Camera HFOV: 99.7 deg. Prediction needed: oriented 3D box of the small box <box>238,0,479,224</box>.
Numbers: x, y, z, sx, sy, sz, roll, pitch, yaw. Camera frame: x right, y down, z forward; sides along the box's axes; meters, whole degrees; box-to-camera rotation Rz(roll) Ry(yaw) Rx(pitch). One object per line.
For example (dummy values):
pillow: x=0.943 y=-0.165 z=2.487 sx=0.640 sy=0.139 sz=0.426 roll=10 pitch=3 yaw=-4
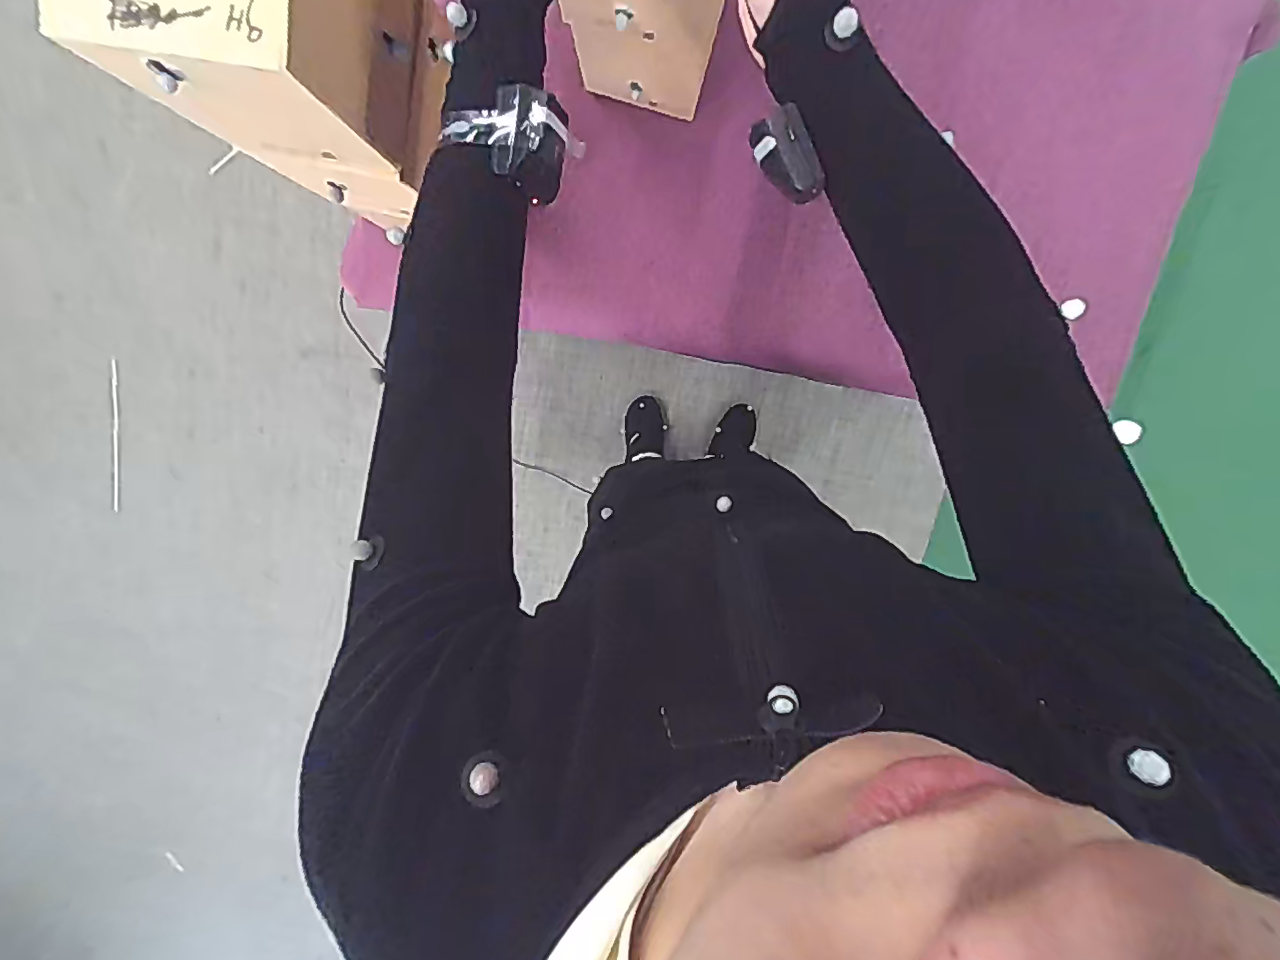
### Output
small box: x=-0.288 y=-0.399 z=0.583 sx=0.168 sy=0.176 sz=0.179 roll=11 pitch=100 yaw=0

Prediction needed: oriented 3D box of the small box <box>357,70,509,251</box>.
small box: x=-0.287 y=-0.436 z=0.740 sx=0.168 sy=0.176 sz=0.179 roll=11 pitch=101 yaw=0

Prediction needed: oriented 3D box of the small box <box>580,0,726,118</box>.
small box: x=0.021 y=-0.616 z=0.696 sx=0.168 sy=0.176 sz=0.179 roll=16 pitch=102 yaw=-2

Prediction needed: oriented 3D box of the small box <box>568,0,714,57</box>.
small box: x=0.010 y=-0.579 z=0.537 sx=0.168 sy=0.176 sz=0.179 roll=14 pitch=102 yaw=-1

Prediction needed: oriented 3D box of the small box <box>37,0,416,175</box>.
small box: x=-0.293 y=-0.374 z=0.419 sx=0.168 sy=0.176 sz=0.179 roll=10 pitch=99 yaw=1
